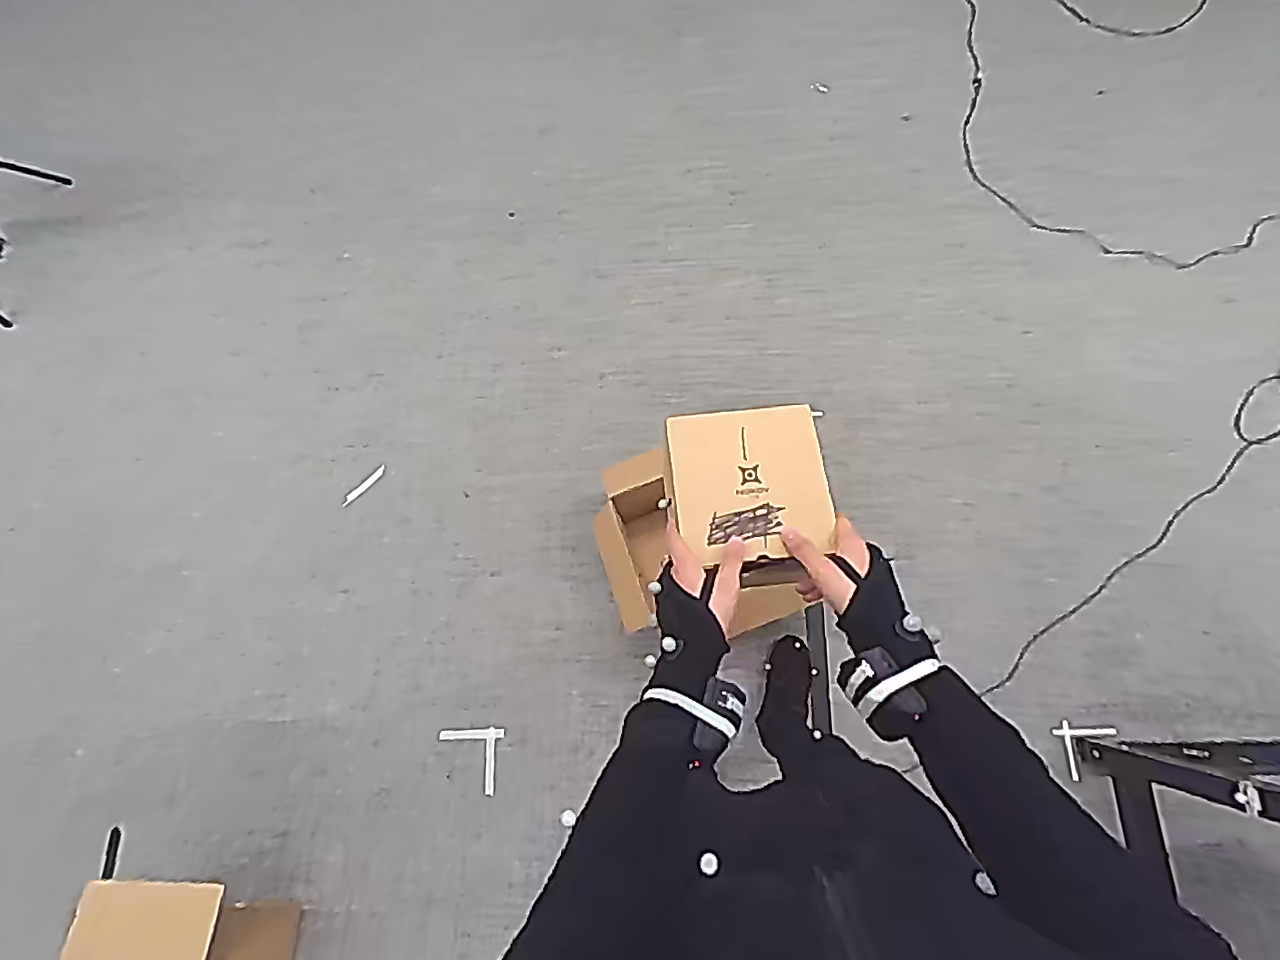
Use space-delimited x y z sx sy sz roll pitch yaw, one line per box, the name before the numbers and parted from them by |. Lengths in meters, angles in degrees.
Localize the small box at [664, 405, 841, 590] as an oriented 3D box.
small box | 0.119 0.032 0.649 0.168 0.176 0.179 -6 68 -1
